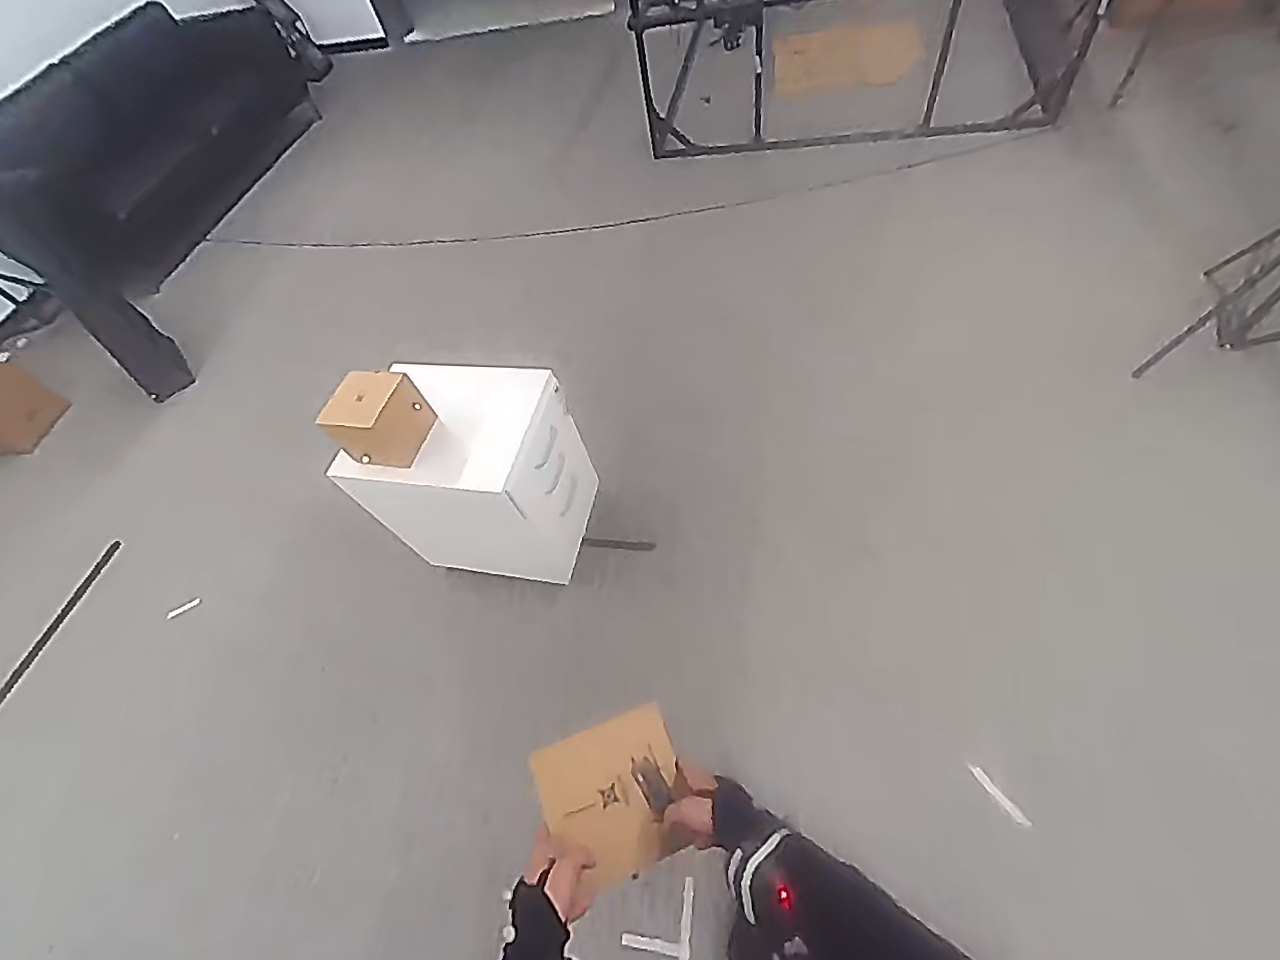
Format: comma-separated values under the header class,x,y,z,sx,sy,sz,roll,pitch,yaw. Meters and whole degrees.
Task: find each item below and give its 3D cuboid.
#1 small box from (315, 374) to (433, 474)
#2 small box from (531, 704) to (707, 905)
class,x,y,z,sx,sy,sz,roll,pitch,yaw
small box,-0.646,-0.138,1.342,0.168,0.176,0.179,6,58,16
small box,-0.033,0.419,0.723,0.179,0.176,0.168,-18,64,-12
